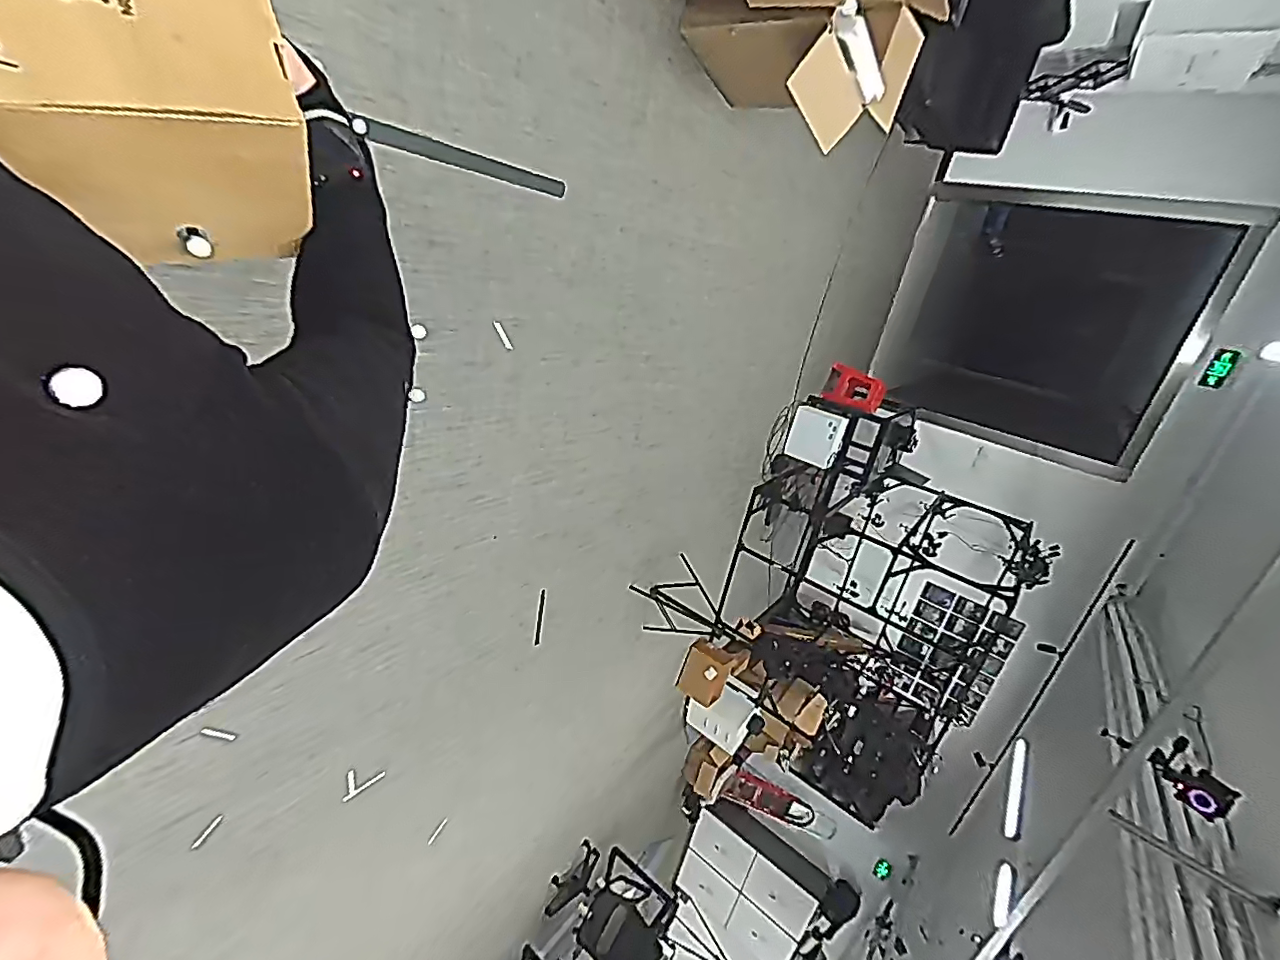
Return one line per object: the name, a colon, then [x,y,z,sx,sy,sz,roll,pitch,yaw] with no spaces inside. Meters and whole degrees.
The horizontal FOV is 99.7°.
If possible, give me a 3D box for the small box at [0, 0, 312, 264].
small box: [-0.371,-0.286,0.413,0.179,0.176,0.168,-19,88,-31]
